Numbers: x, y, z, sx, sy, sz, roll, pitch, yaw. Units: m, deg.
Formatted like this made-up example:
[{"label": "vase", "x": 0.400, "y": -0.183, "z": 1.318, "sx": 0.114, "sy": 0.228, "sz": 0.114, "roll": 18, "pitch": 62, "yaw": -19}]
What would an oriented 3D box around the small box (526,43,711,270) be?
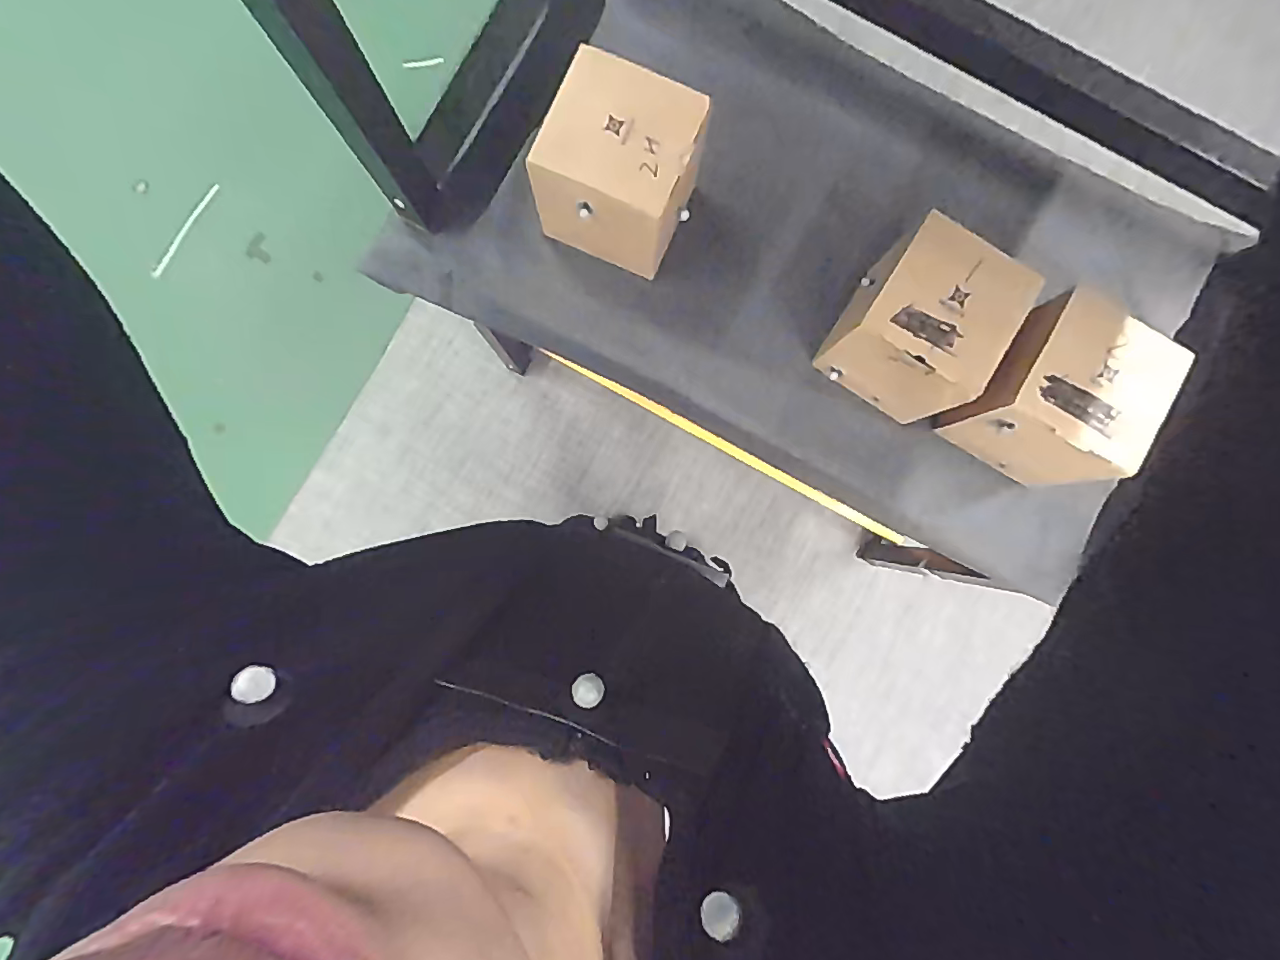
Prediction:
[{"label": "small box", "x": -0.028, "y": -0.412, "z": 0.722, "sx": 0.179, "sy": 0.176, "sz": 0.168, "roll": 24, "pitch": 86, "yaw": -1}]
